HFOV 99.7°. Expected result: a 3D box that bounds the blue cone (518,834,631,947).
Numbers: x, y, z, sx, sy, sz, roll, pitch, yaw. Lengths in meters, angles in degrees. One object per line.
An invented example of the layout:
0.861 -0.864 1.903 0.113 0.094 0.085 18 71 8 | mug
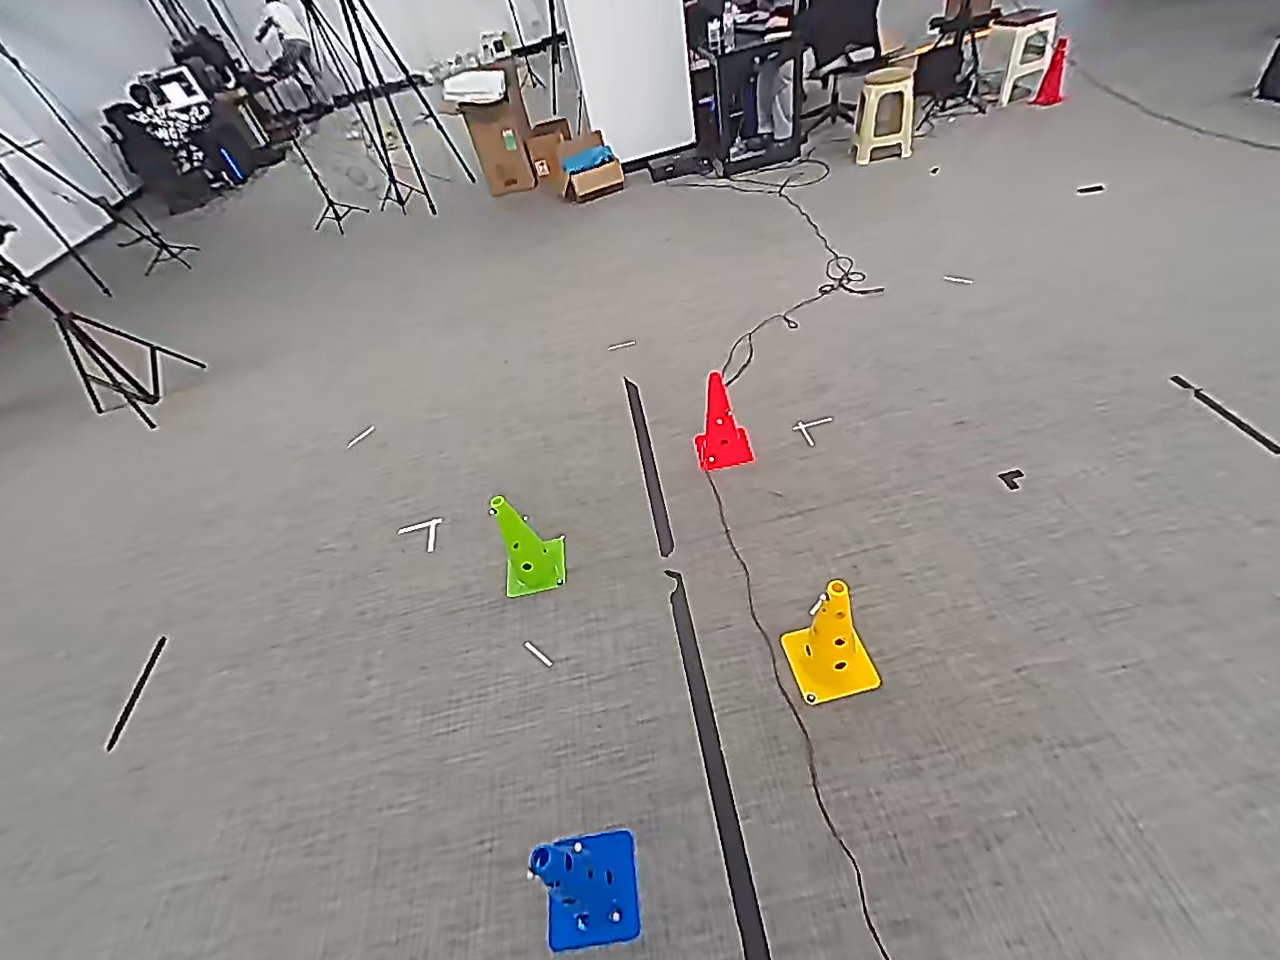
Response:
-0.150 0.790 1.080 0.192 0.380 0.193 -11 45 6 | blue cone

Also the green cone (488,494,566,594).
-0.388 0.169 1.716 0.202 0.368 0.200 -14 45 3 | green cone

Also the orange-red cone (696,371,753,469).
0.286 -0.236 1.927 0.199 0.360 0.198 -9 47 5 | orange-red cone
